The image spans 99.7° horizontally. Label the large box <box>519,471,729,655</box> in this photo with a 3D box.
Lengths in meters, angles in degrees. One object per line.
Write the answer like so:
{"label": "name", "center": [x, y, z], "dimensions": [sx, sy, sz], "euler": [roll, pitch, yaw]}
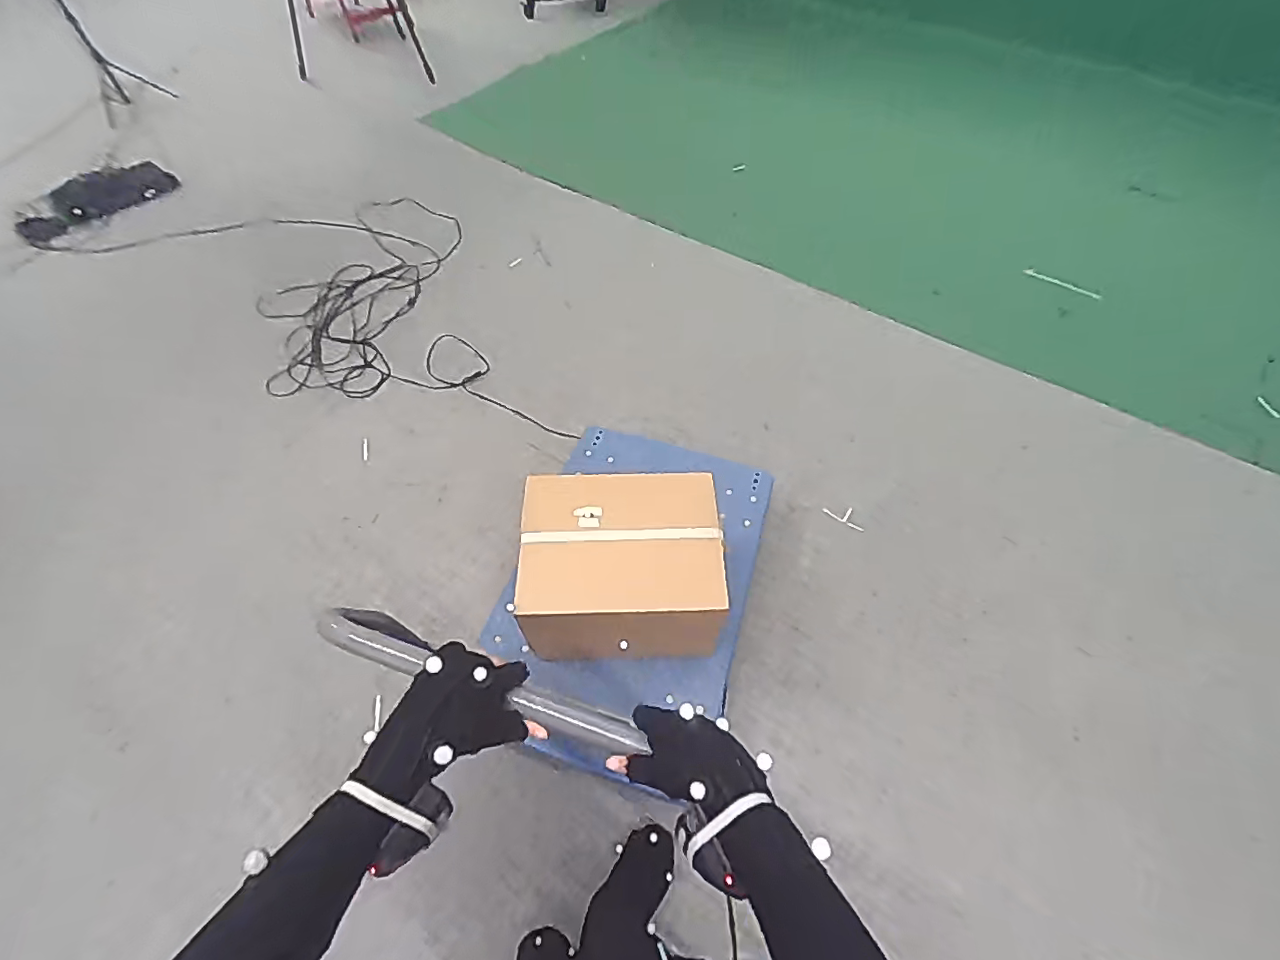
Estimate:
{"label": "large box", "center": [-0.034, 0.197, 1.222], "dimensions": [0.408, 0.320, 0.320], "euler": [-2, 56, -1]}
